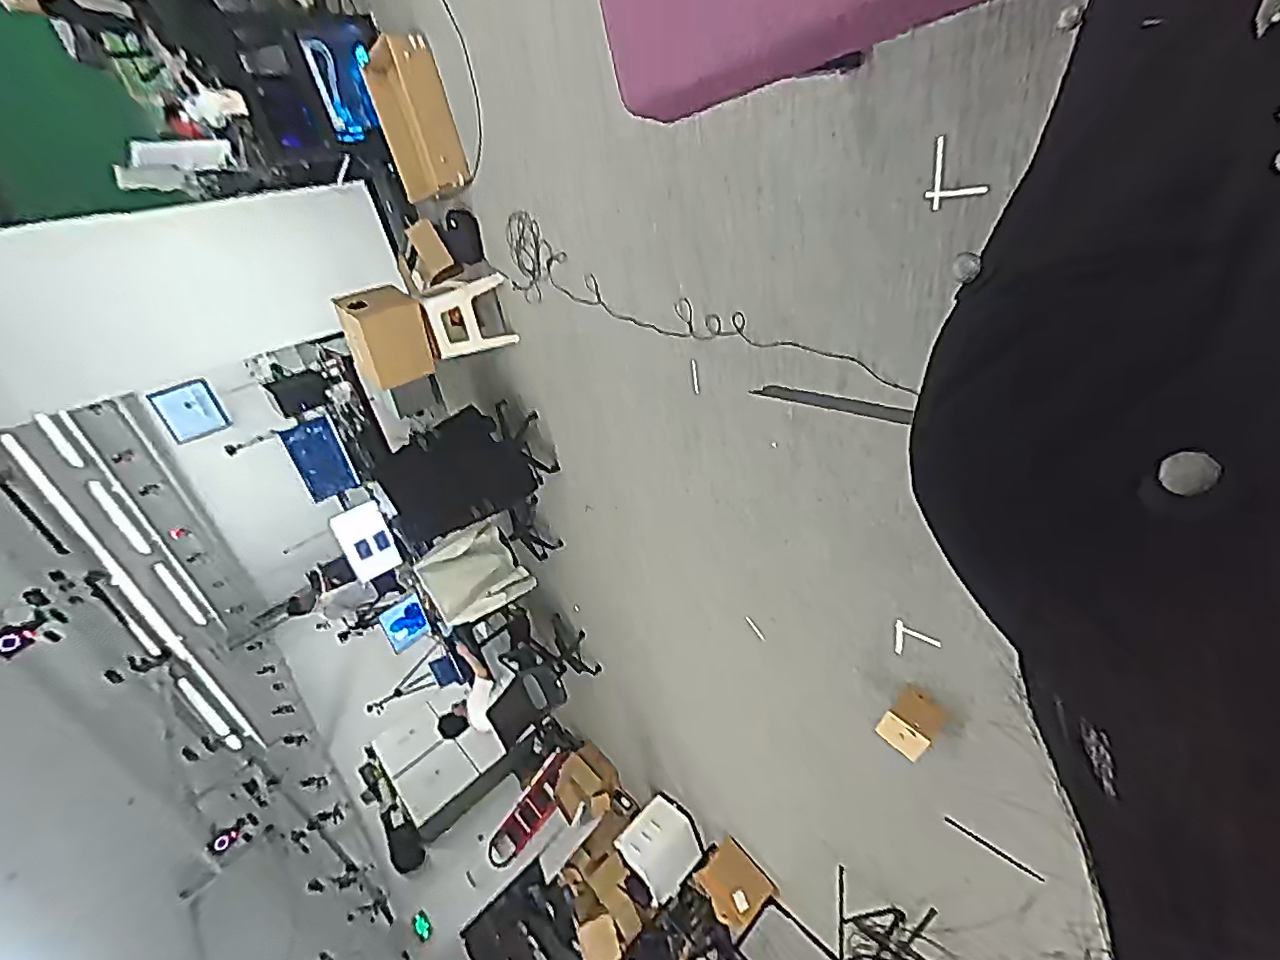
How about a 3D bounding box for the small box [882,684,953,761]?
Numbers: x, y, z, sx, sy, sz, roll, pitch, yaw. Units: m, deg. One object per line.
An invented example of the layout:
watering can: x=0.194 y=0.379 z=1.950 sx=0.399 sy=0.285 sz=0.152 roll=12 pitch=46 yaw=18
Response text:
small box: x=1.069 y=0.928 z=2.077 sx=0.168 sy=0.176 sz=0.179 roll=34 pitch=141 yaw=33
